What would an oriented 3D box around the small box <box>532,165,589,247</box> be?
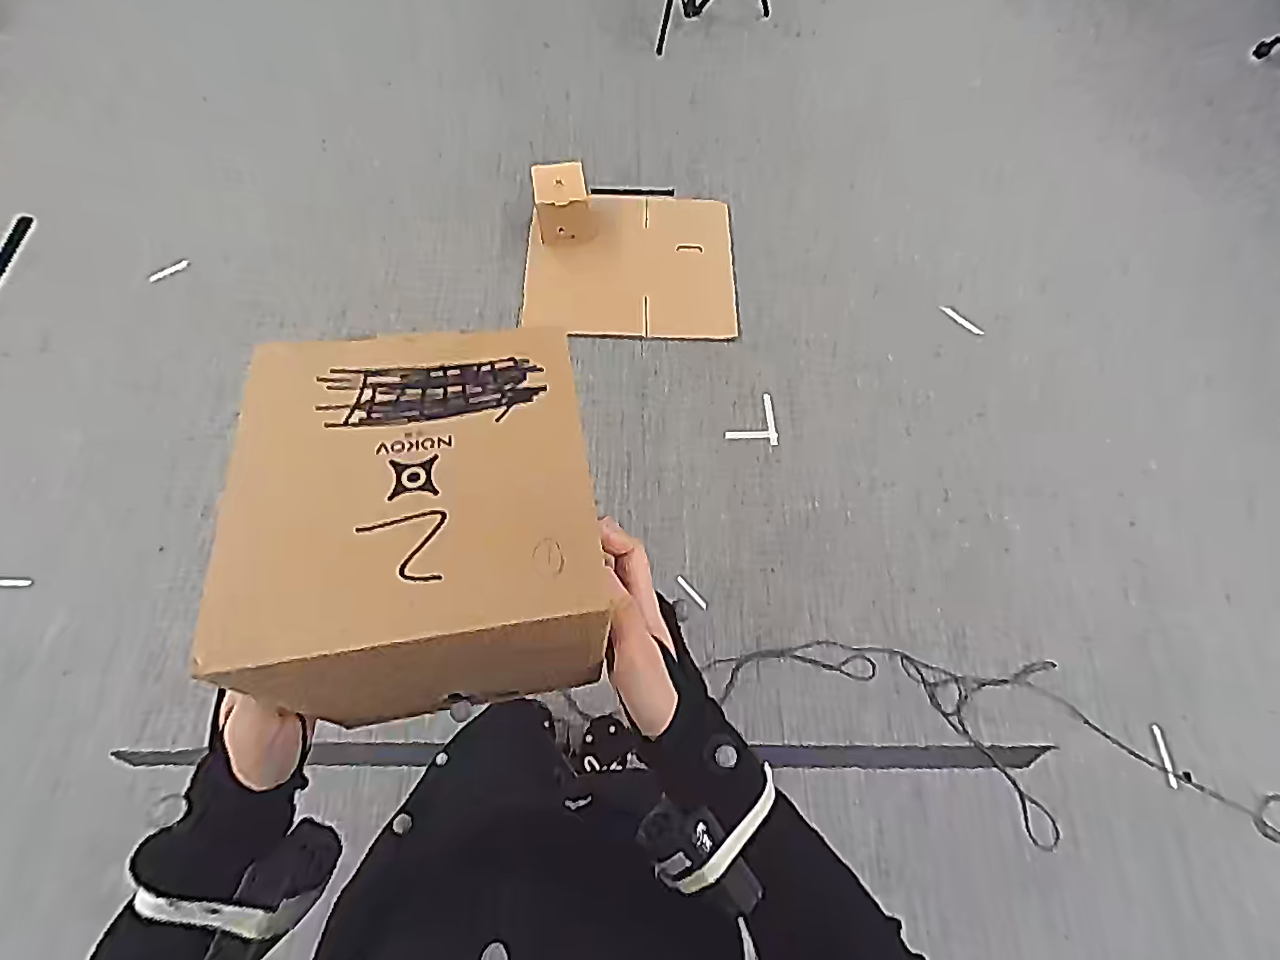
[{"bbox_3d":[-0.264,-0.914,1.808,0.168,0.176,0.179,-9,68,-5],"label":"small box"}]
